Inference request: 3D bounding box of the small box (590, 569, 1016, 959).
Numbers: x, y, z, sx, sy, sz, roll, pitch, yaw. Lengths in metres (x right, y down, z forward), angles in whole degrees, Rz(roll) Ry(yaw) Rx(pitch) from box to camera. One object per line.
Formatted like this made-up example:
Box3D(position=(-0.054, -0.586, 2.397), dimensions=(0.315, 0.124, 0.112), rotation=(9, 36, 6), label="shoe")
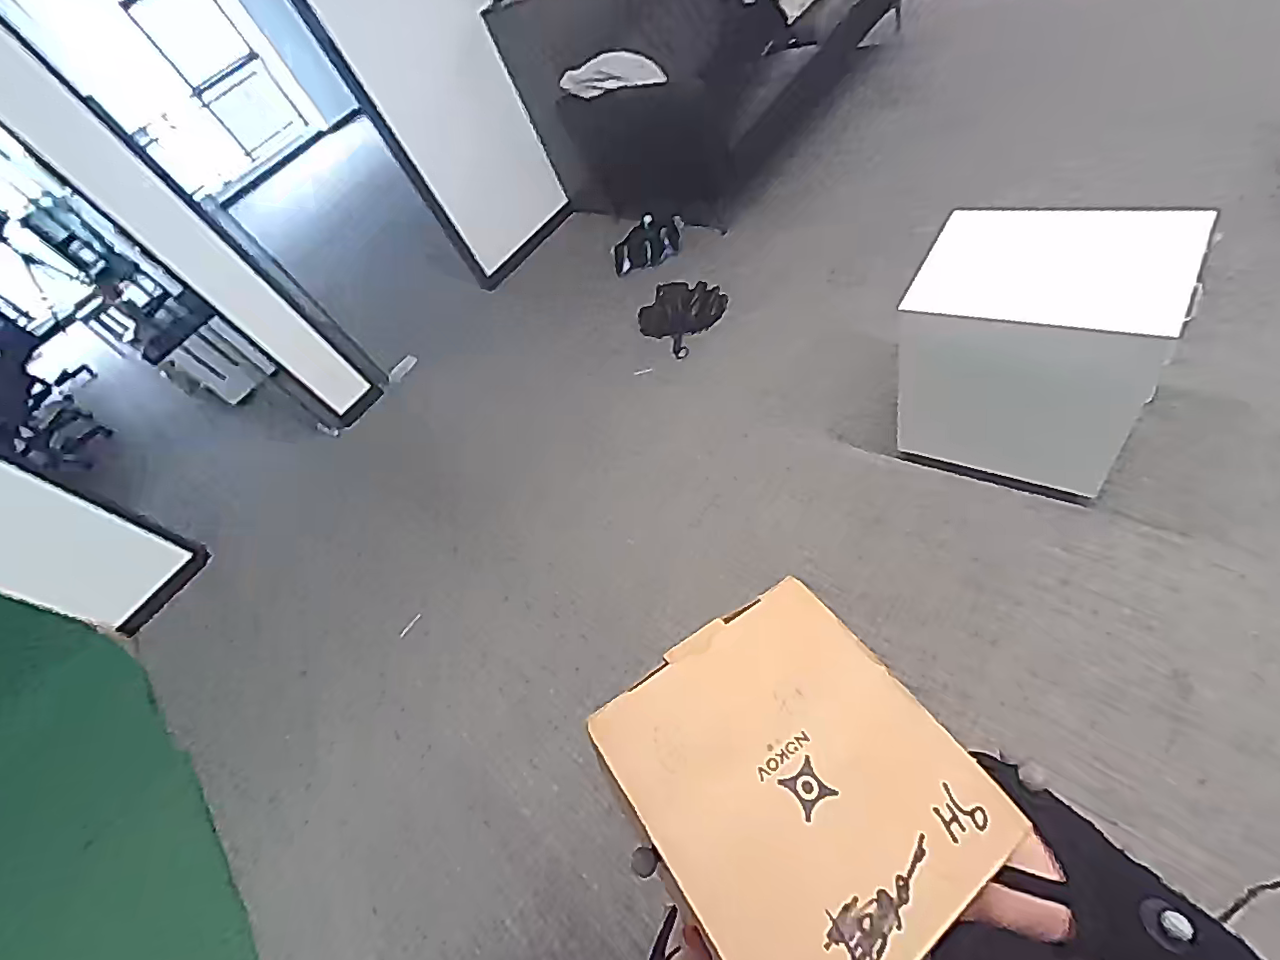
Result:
Box3D(position=(0.083, 0.199, 0.360), dimensions=(0.168, 0.176, 0.179), rotation=(-28, 57, -19), label="small box")
